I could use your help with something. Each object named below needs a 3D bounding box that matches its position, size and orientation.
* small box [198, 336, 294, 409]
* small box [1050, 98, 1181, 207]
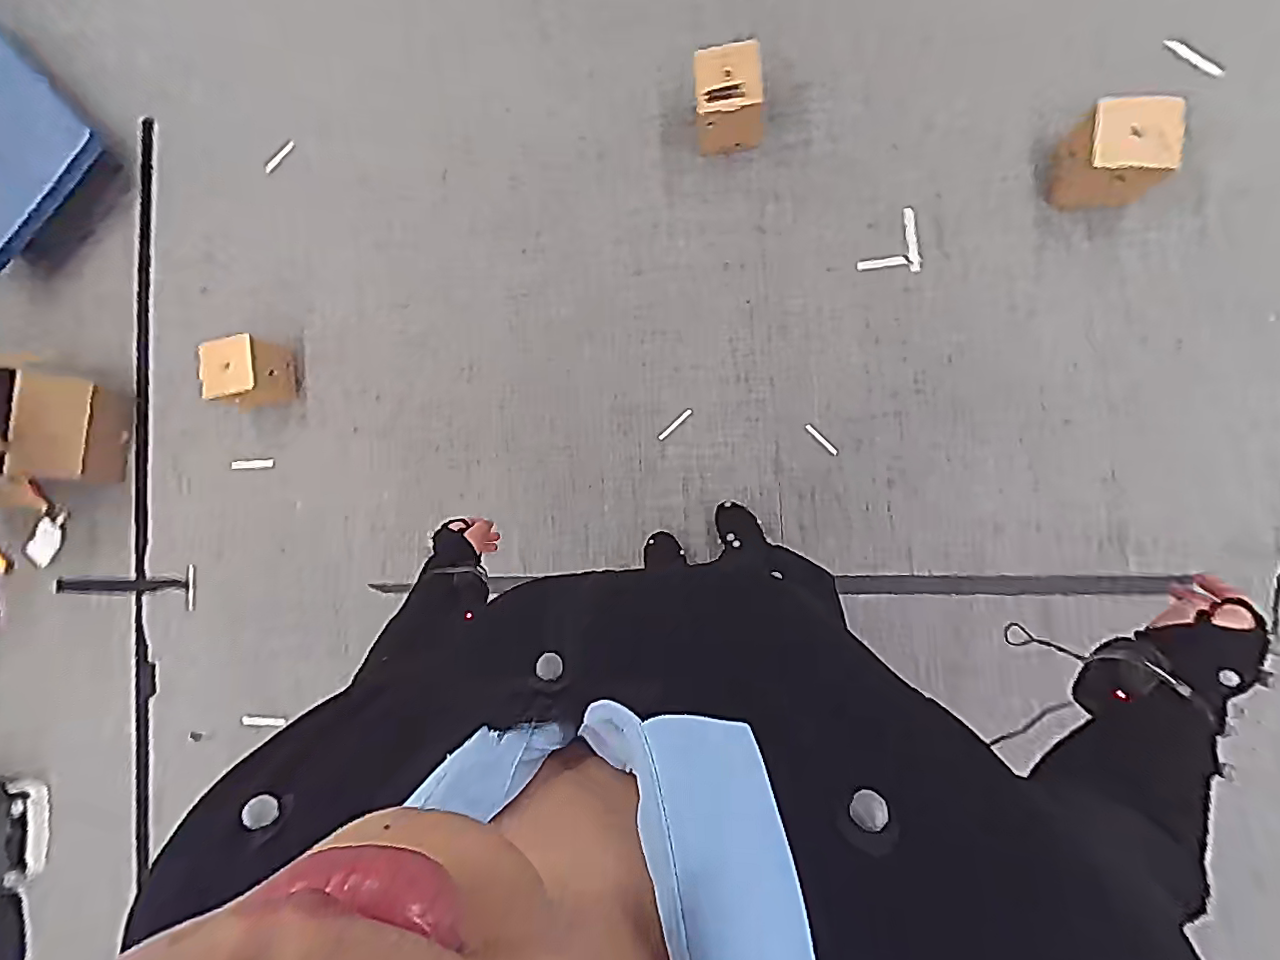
[{"bbox_3d":[-1.191,-0.321,1.649,0.179,0.176,0.168,-10,86,9],"label":"small box"},{"bbox_3d":[1.135,-0.782,1.305,0.179,0.176,0.168,6,89,9],"label":"small box"}]
